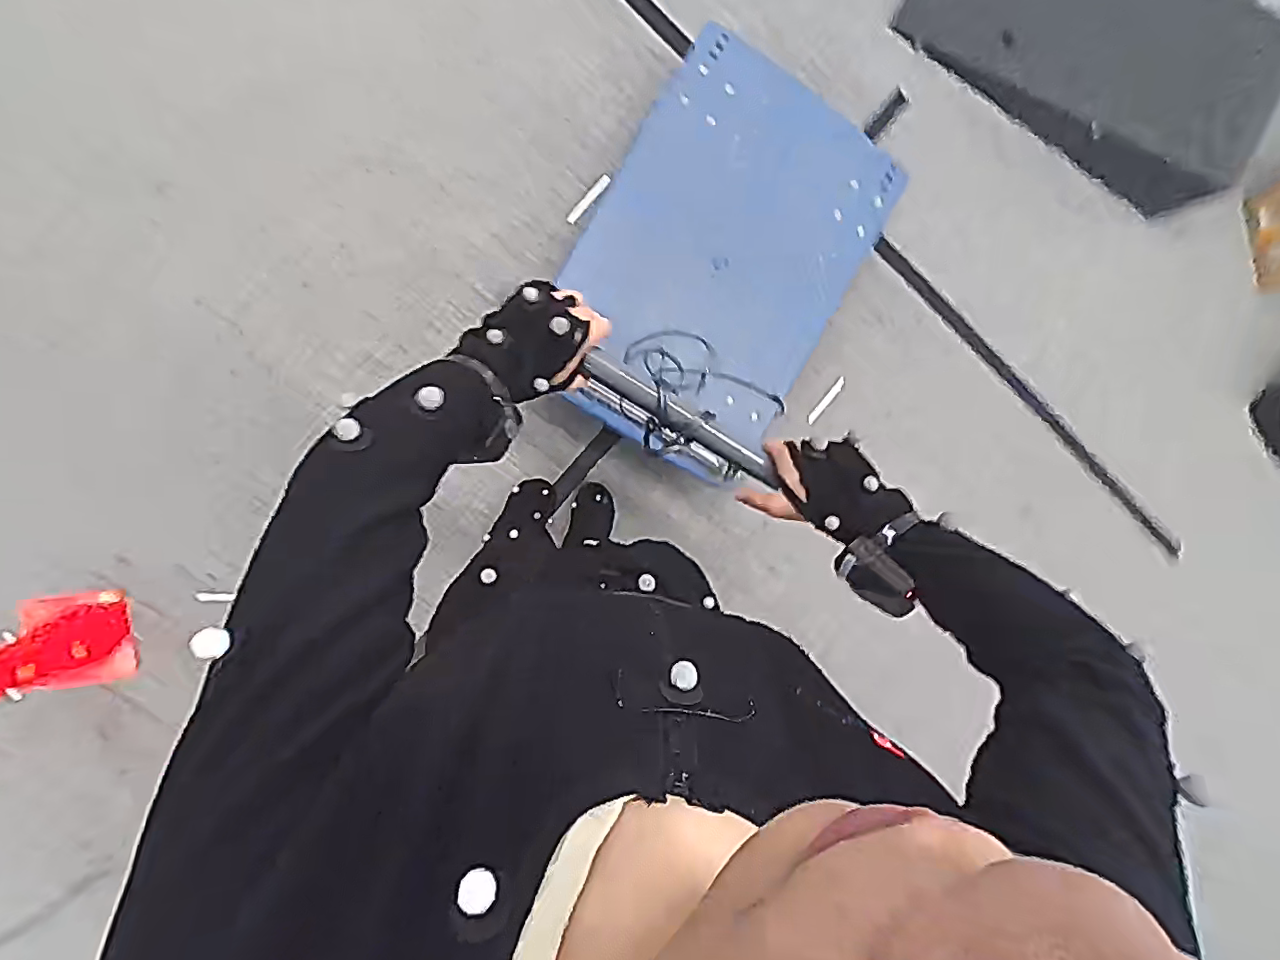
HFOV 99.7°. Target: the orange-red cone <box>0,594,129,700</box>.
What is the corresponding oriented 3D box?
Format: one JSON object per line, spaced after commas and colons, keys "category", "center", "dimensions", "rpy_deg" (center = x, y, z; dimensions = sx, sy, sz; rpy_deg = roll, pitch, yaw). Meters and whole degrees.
{"category": "orange-red cone", "center": [-1.207, 0.365, 1.015], "dimensions": [0.199, 0.360, 0.198], "rpy_deg": [-4, 95, -11]}
